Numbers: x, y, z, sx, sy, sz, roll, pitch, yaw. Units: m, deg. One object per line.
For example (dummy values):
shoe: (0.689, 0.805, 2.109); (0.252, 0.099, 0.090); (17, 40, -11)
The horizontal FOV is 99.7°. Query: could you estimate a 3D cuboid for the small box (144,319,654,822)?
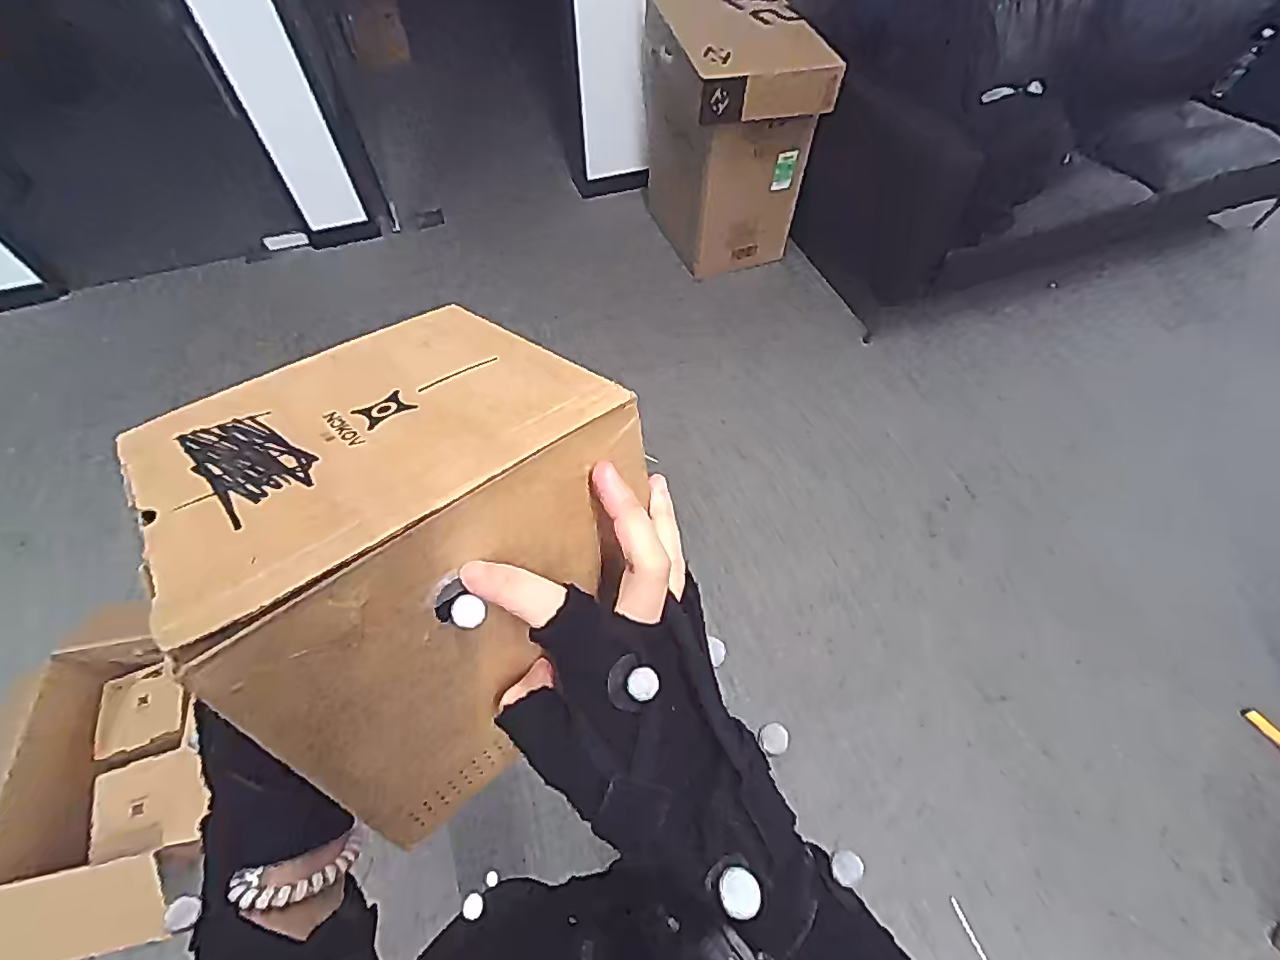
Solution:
small box: (-0.109, 0.039, 0.297); (0.179, 0.176, 0.168); (-35, 47, -27)
